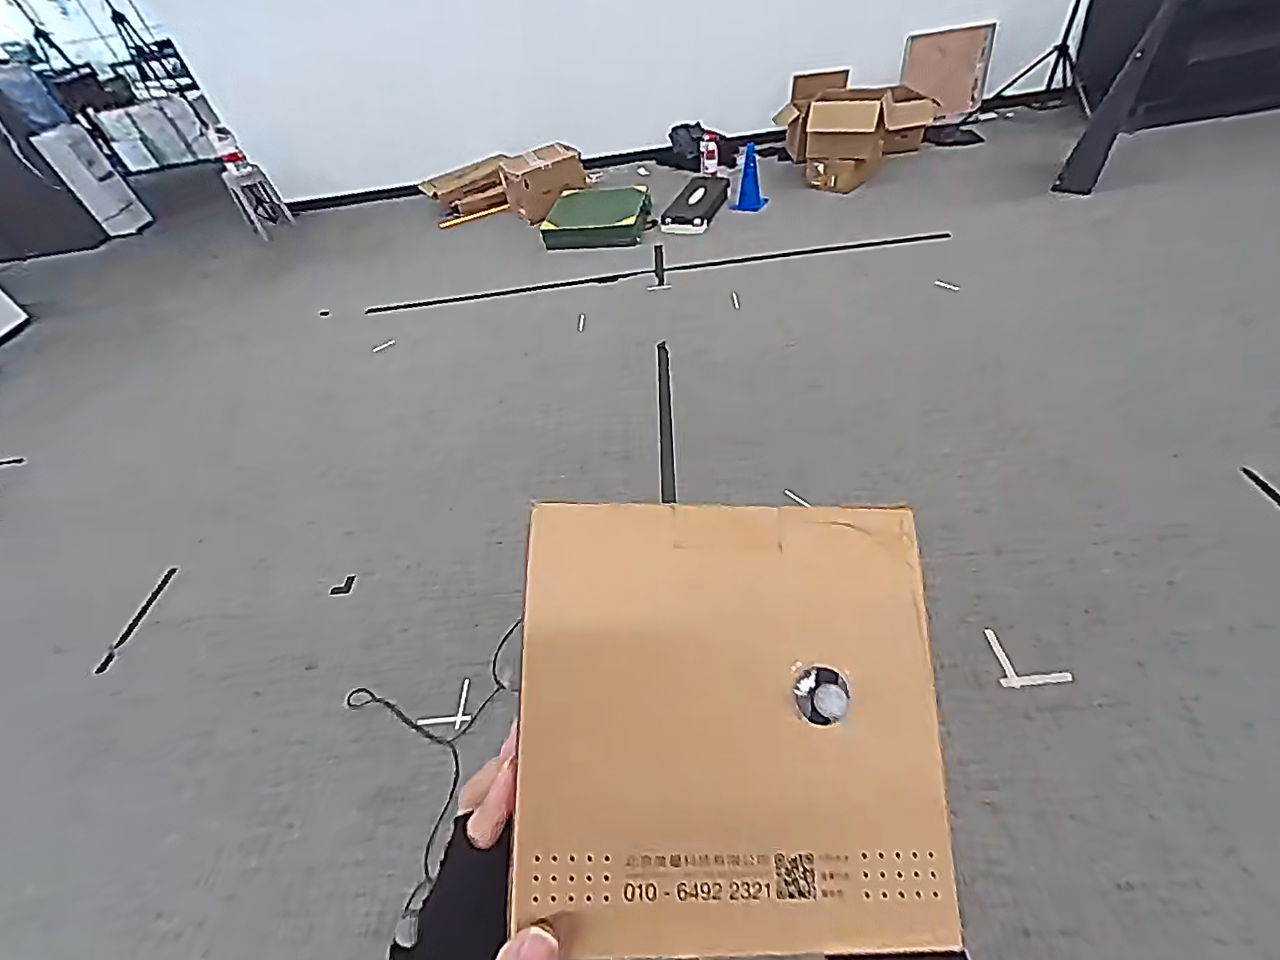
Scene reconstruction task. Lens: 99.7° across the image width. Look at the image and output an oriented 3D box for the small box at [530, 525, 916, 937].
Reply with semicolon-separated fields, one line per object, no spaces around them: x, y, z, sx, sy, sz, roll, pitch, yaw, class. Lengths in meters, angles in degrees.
0.033;0.120;0.309;0.168;0.179;0.176;1;78;-1;small box
